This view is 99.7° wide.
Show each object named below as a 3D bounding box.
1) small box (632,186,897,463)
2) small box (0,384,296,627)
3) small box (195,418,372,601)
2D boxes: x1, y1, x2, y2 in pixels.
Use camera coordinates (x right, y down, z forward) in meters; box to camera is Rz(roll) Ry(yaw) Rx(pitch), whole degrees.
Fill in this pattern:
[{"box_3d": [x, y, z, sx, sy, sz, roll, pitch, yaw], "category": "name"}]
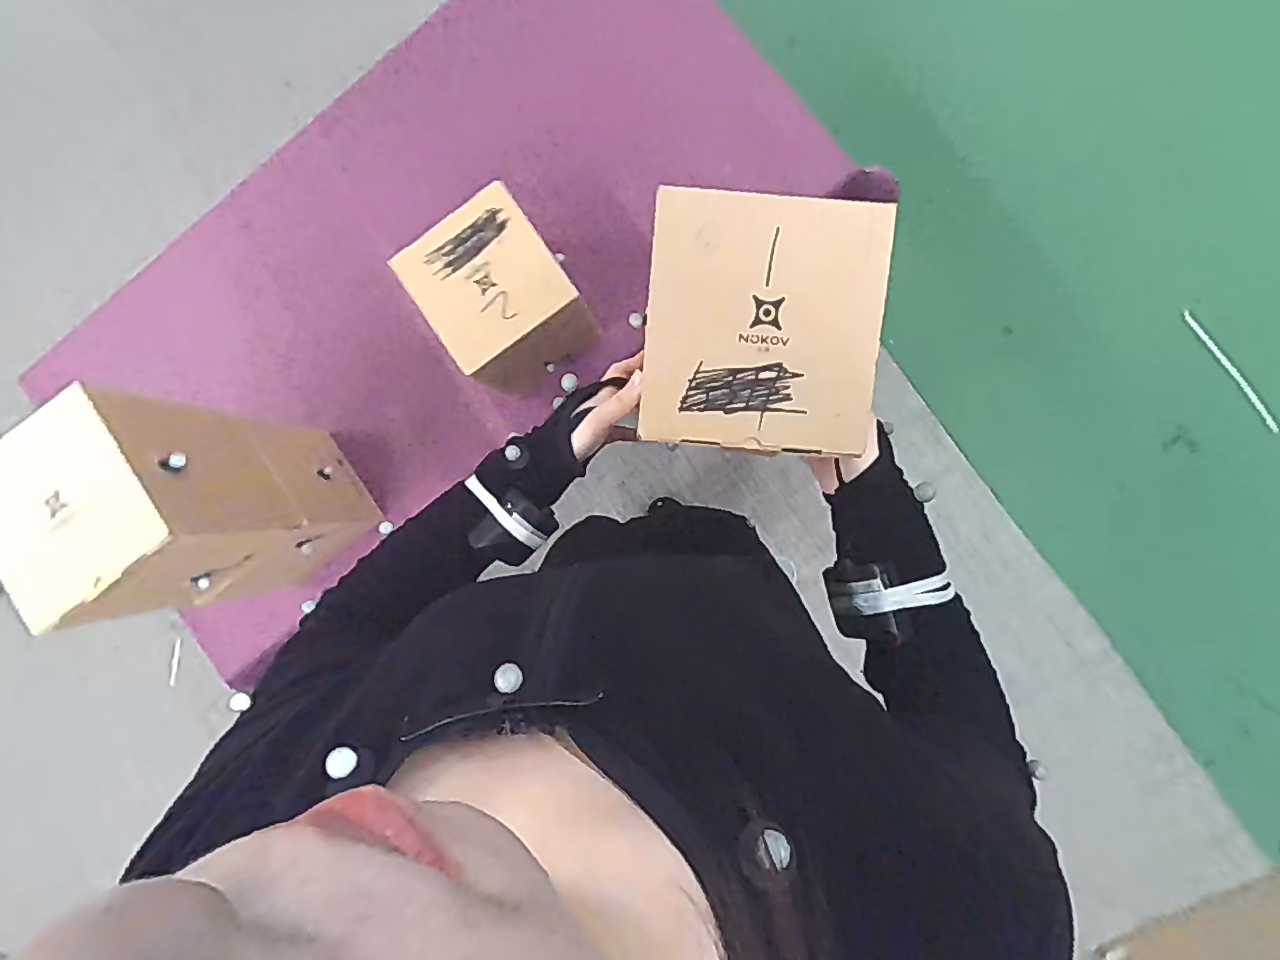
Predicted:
[{"box_3d": [0.087, -0.116, 0.458, 0.168, 0.176, 0.179, 6, 97, 0], "category": "small box"}, {"box_3d": [-0.530, 0.026, 0.584, 0.168, 0.176, 0.179, -35, 87, 3], "category": "small box"}, {"box_3d": [-0.507, 0.038, 0.745, 0.179, 0.176, 0.168, -36, 85, 4], "category": "small box"}]
